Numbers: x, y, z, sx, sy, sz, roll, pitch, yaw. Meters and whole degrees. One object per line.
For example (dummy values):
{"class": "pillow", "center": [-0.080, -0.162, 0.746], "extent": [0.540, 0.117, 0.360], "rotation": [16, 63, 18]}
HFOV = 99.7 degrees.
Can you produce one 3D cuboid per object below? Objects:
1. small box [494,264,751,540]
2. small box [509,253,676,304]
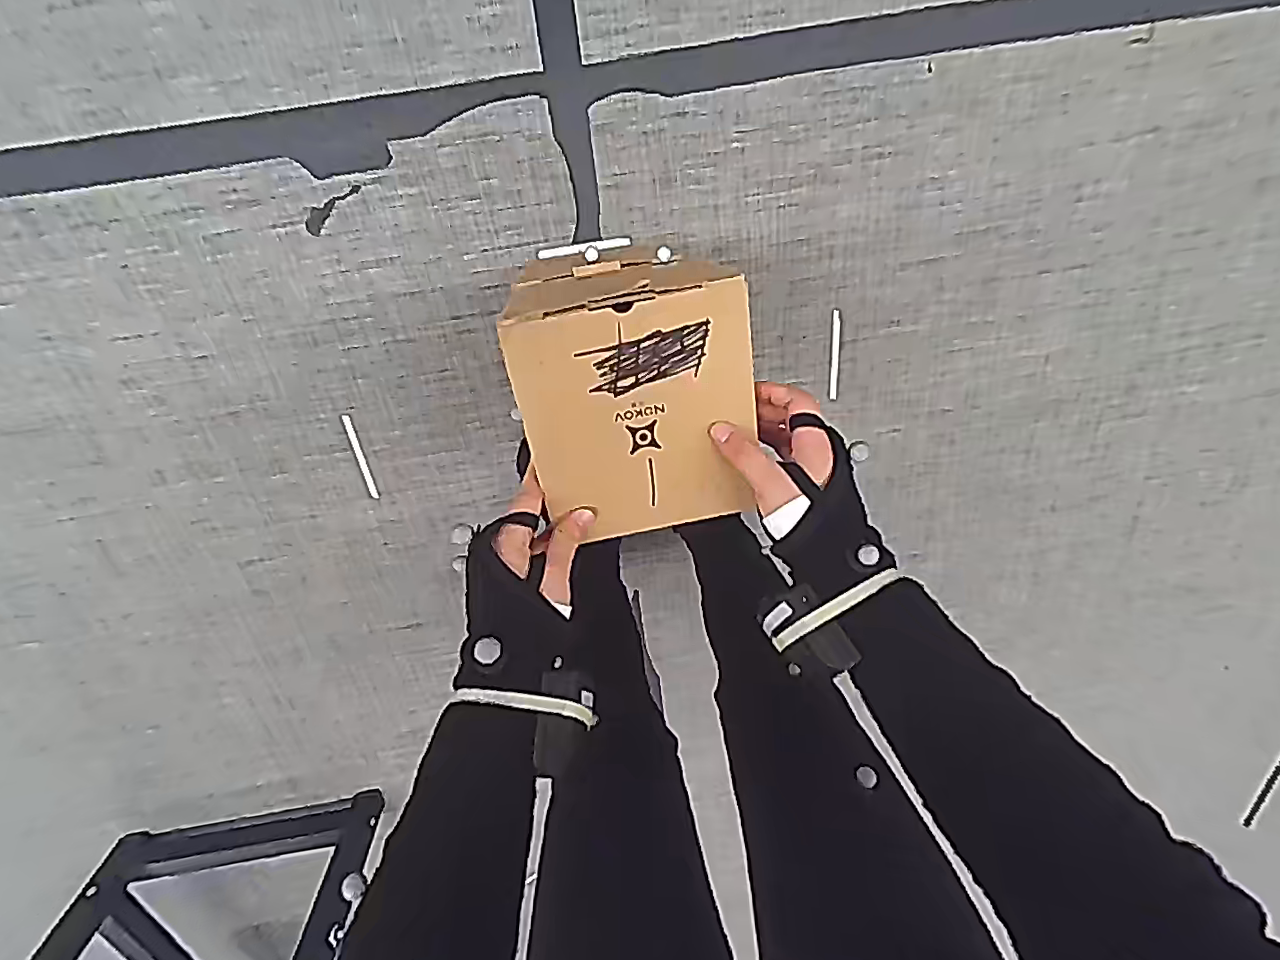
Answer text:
{"class": "small box", "center": [-0.014, -0.079, 0.459], "extent": [0.168, 0.176, 0.179], "rotation": [-12, 118, -2]}
{"class": "small box", "center": [-0.043, -0.154, 0.616], "extent": [0.168, 0.176, 0.179], "rotation": [-12, 115, -2]}
